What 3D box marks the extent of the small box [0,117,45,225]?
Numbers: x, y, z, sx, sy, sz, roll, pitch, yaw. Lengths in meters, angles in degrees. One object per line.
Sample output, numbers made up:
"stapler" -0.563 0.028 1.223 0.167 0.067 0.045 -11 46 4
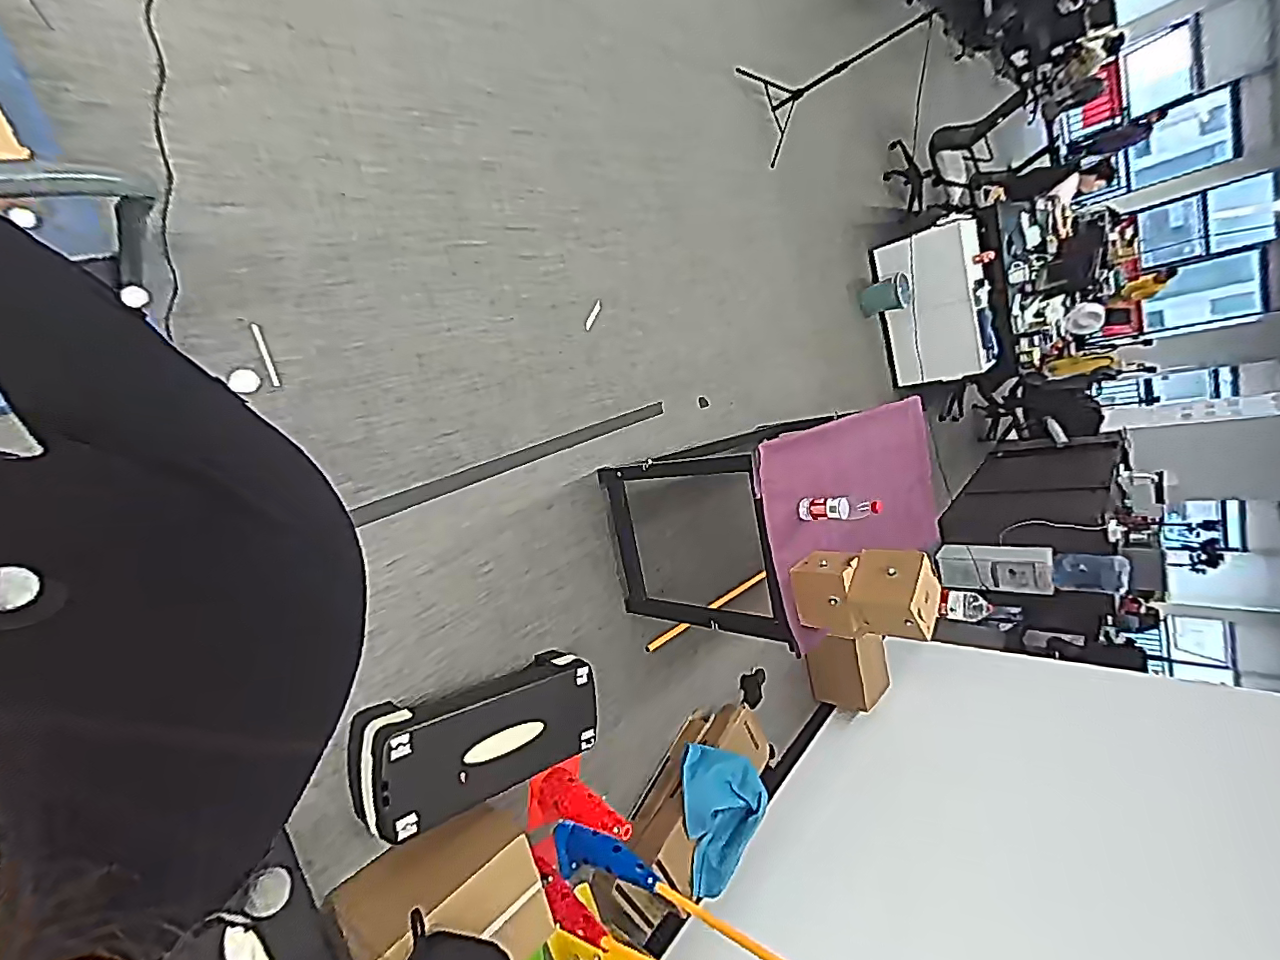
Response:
"small box" -1.053 -0.489 0.804 0.179 0.176 0.168 -35 111 -40
